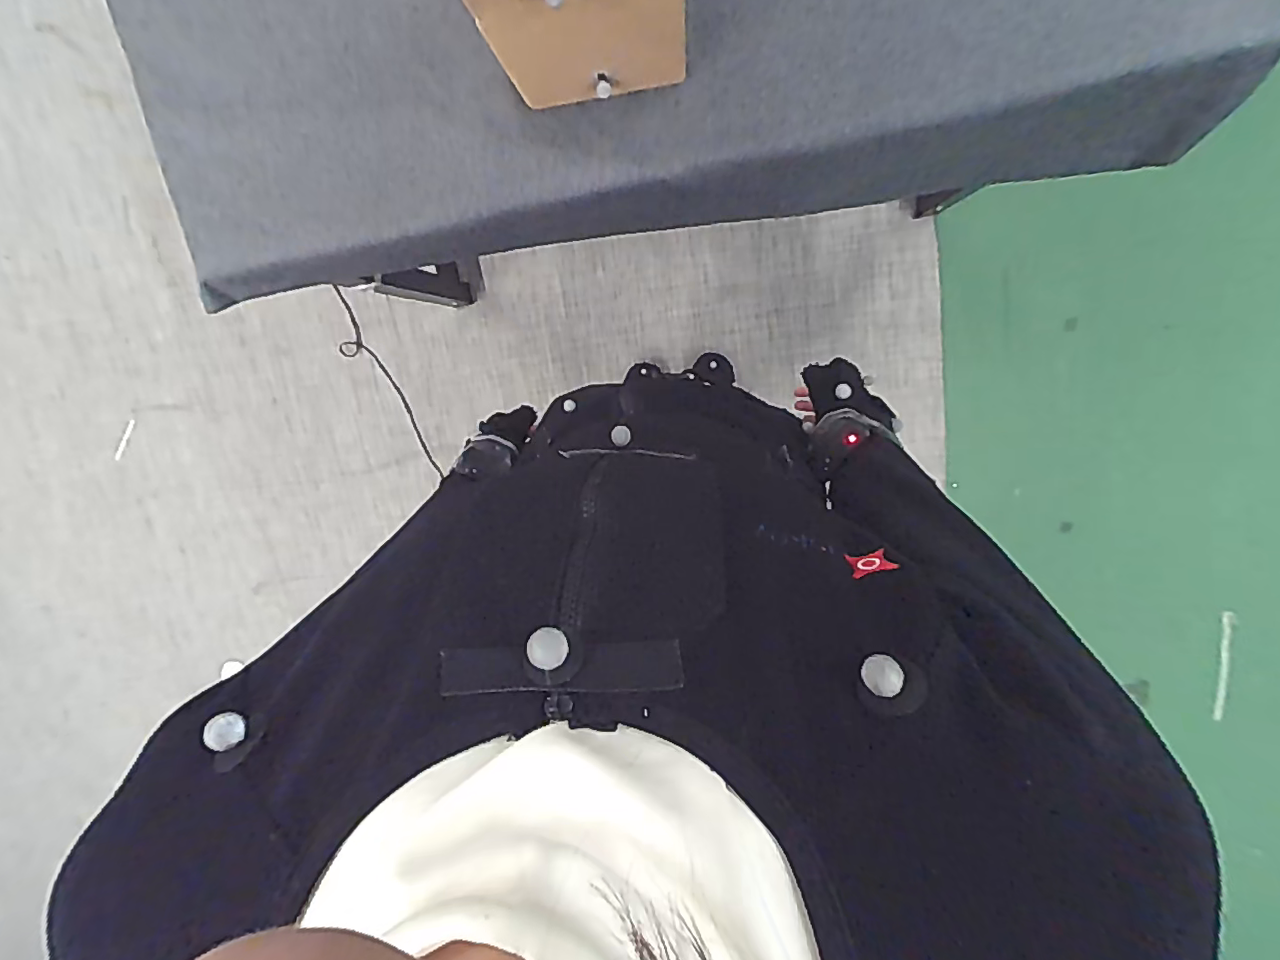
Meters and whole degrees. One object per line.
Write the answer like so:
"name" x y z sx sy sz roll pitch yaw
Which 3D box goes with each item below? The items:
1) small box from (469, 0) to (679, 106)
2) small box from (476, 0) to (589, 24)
"small box" -0.059 -0.486 0.504 0.179 0.176 0.168 -7 102 6
"small box" -0.075 -0.453 0.345 0.168 0.176 0.179 -8 103 9
